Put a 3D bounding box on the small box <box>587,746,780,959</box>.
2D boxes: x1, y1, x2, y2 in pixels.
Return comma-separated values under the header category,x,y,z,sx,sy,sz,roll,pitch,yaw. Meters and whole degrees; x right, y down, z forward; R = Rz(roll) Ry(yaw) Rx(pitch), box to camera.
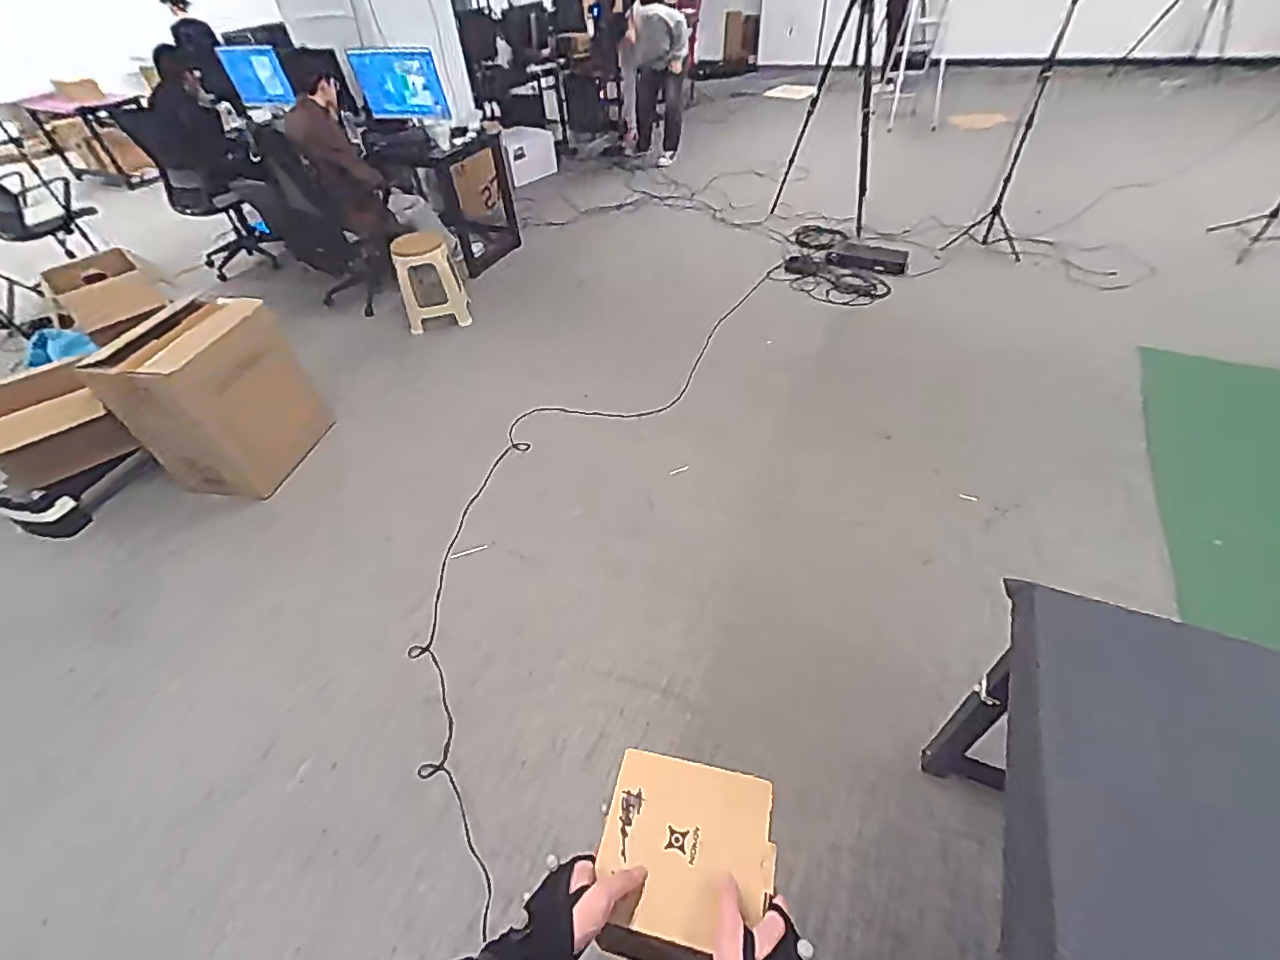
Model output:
category,x,y,z,sx,sy,sz,roll,pitch,yaw
small box,0.054,0.437,0.613,0.179,0.176,0.168,8,42,12
